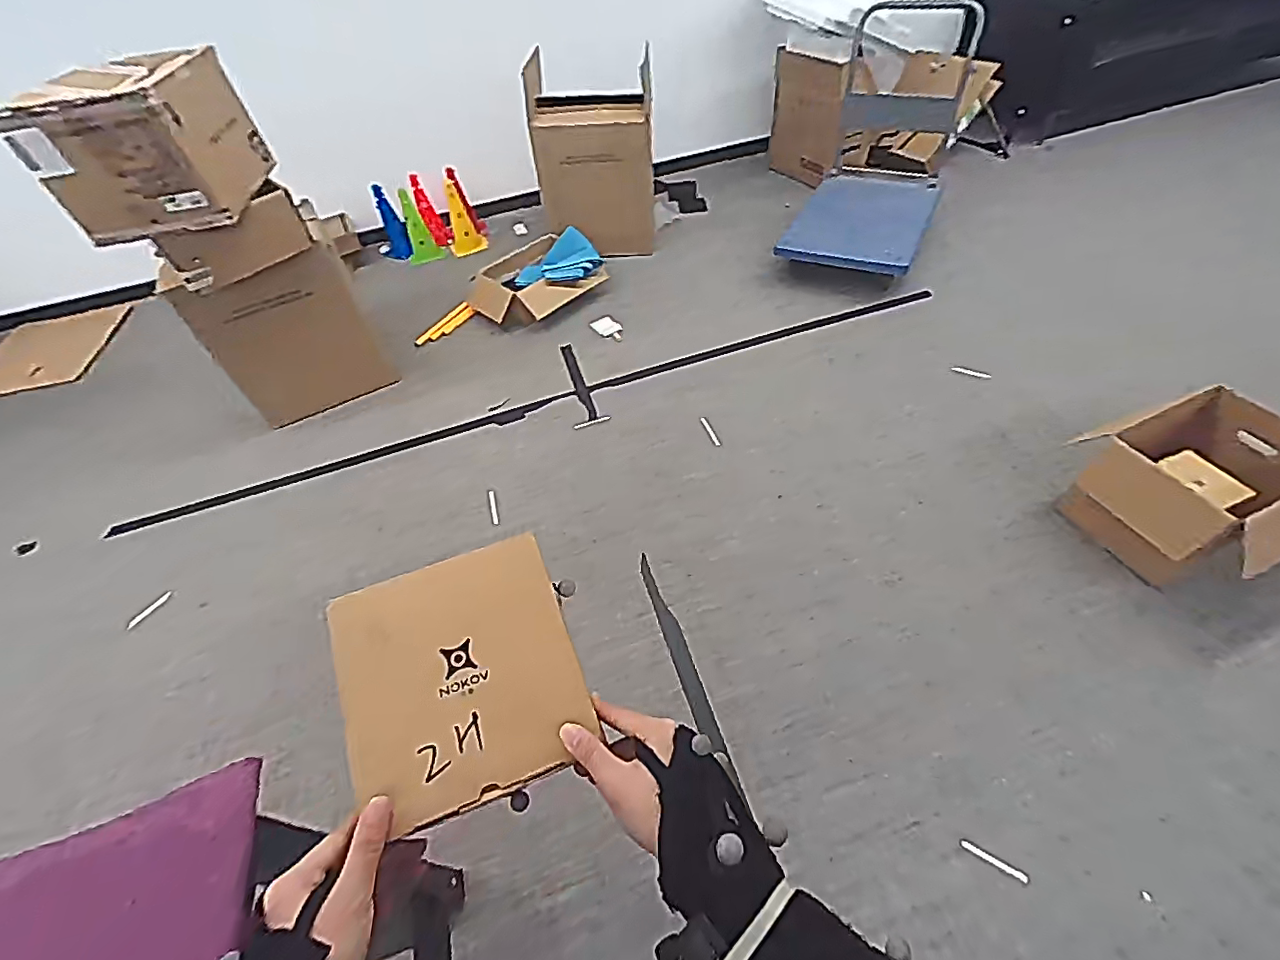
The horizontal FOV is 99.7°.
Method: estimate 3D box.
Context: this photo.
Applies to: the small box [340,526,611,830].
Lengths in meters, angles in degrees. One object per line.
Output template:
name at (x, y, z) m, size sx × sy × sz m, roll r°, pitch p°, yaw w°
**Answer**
small box at (-0.131, 0.169, 0.469) m, size 0.168 × 0.176 × 0.179 m, roll -19°, pitch 65°, yaw -11°
